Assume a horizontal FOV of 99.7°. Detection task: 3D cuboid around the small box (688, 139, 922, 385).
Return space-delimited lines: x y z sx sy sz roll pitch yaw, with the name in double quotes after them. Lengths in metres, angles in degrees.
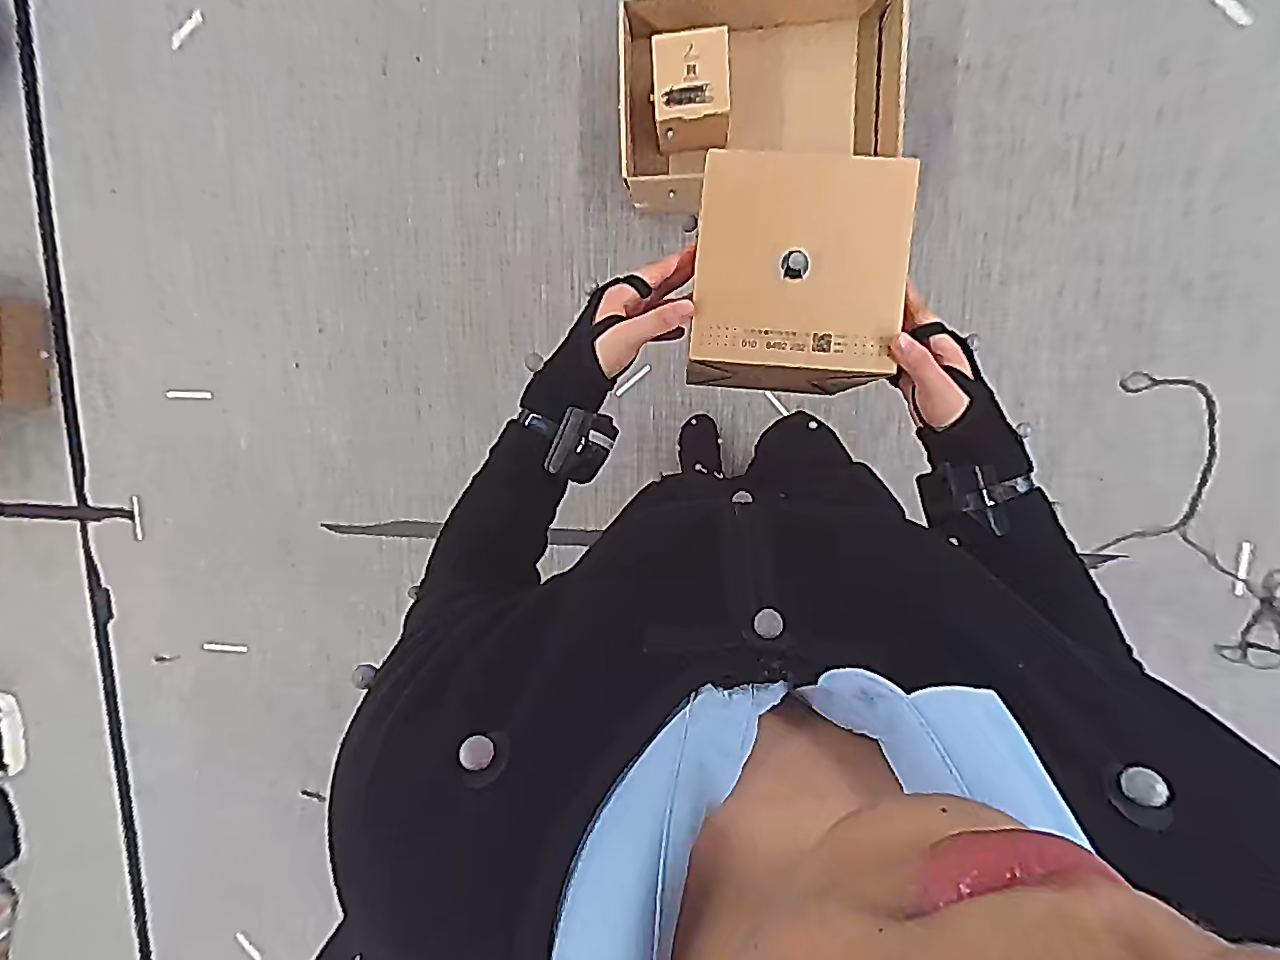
0.136 -0.182 0.504 0.168 0.179 0.176 6 94 4 "small box"
